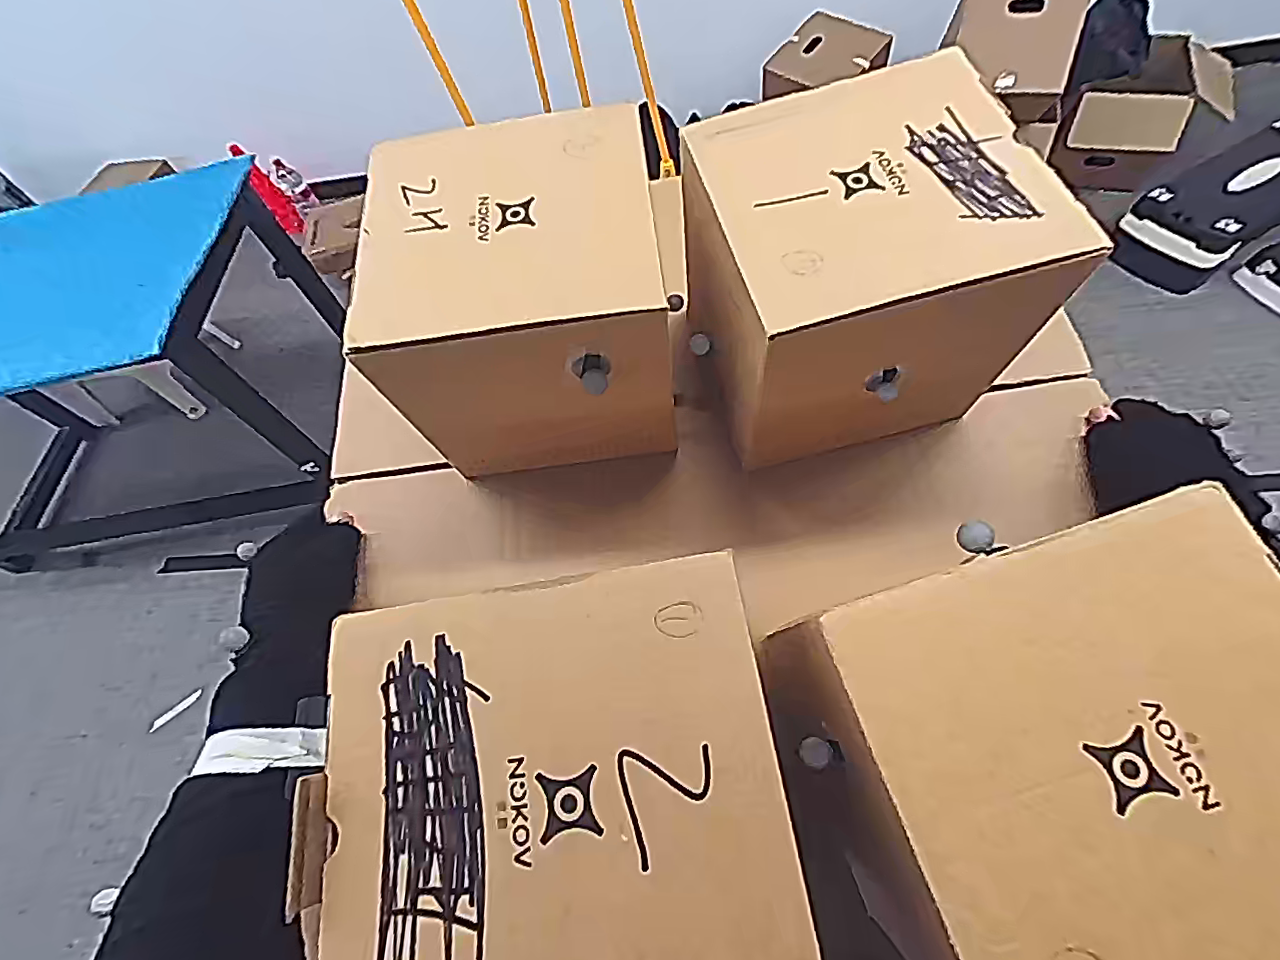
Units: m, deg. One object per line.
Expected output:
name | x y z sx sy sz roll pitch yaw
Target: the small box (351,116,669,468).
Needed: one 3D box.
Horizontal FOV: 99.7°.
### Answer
small box | -0.071 -0.121 0.397 0.179 0.176 0.168 -6 66 4
